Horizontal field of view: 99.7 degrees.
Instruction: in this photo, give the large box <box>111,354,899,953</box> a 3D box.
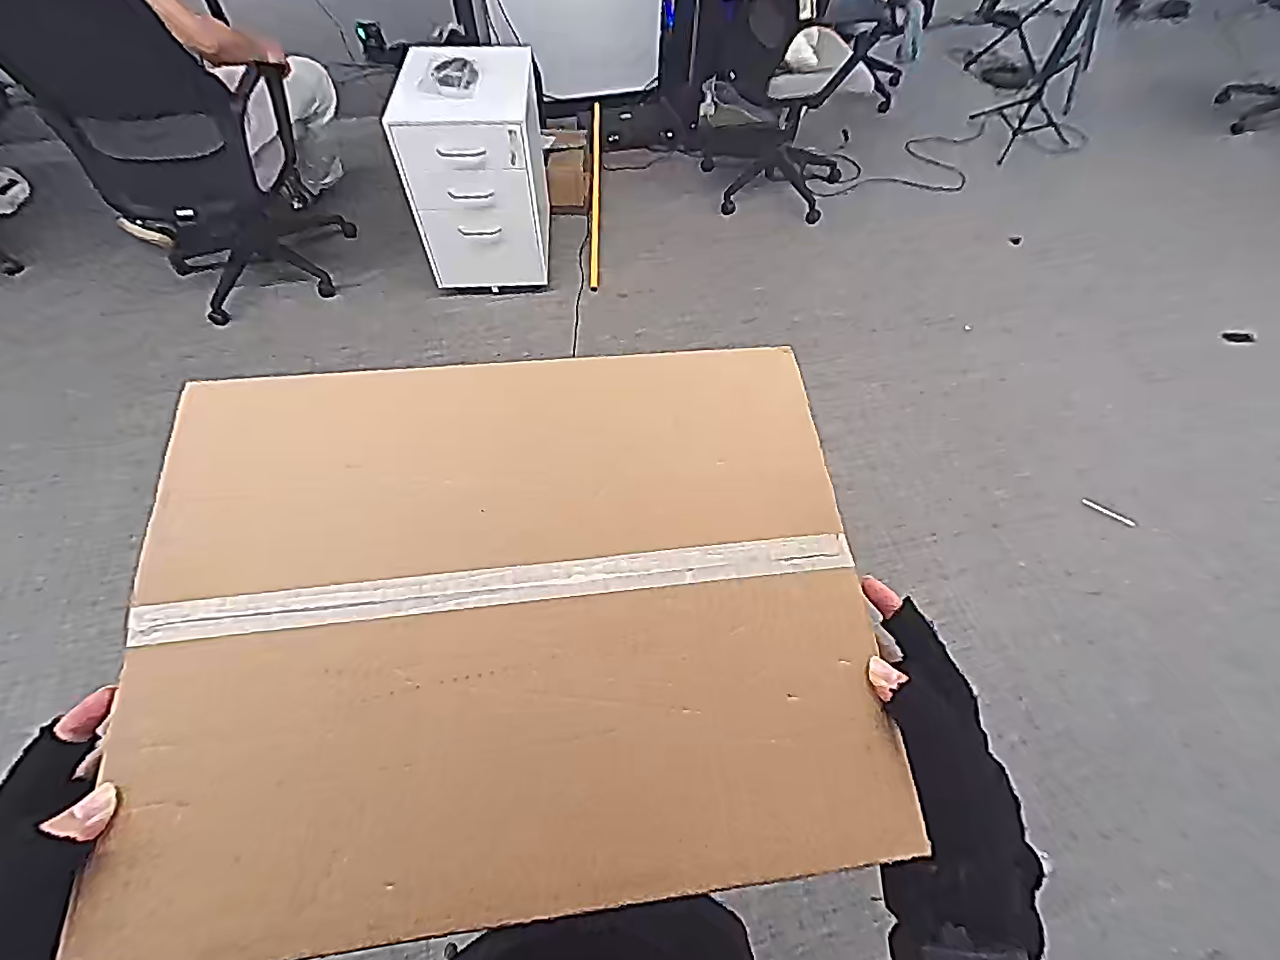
[{"bbox_3d":[-0.082,0.121,0.466,0.408,0.320,0.320,-5,68,-6],"label":"large box"}]
